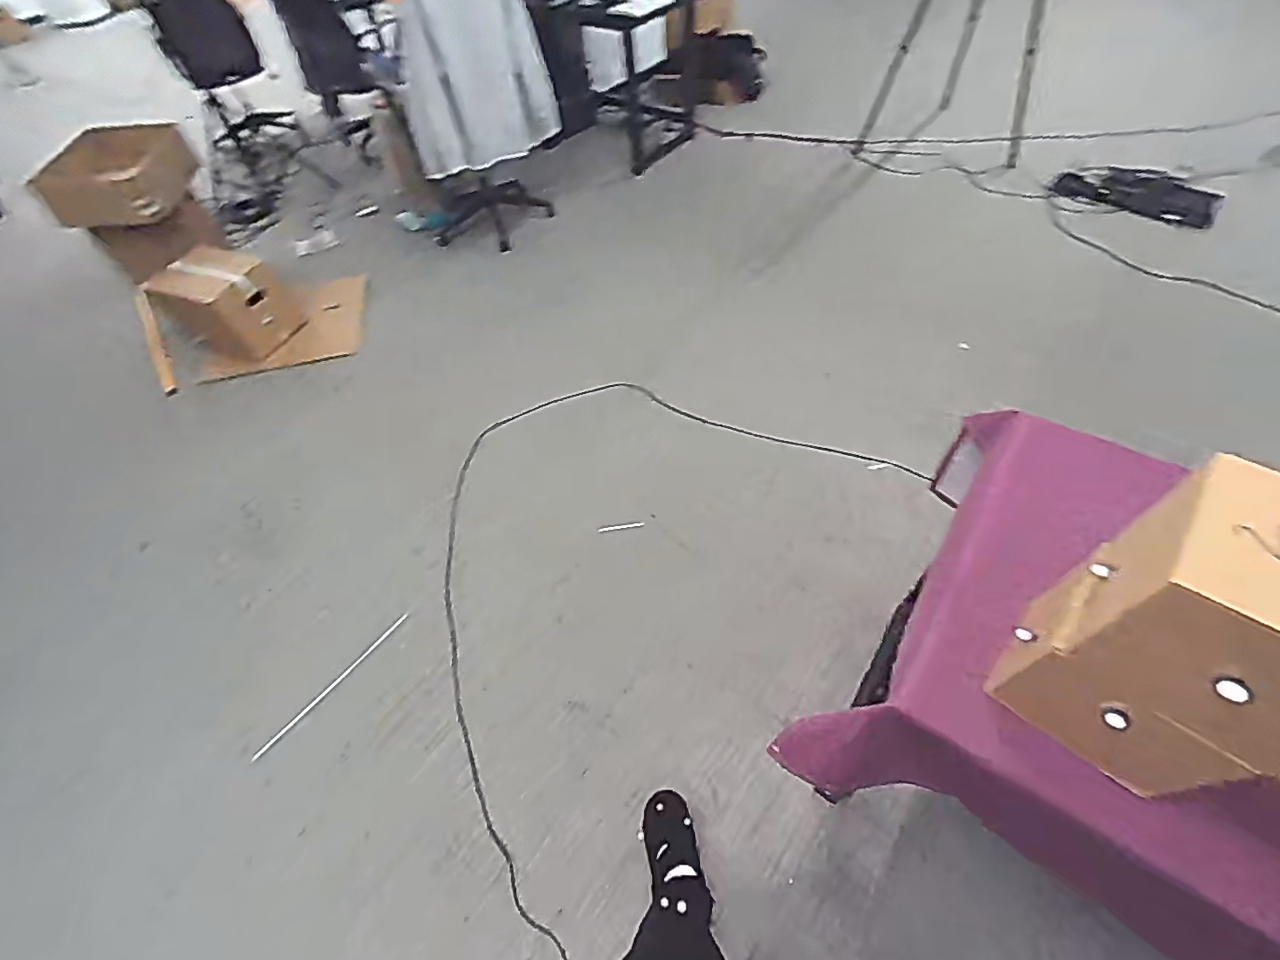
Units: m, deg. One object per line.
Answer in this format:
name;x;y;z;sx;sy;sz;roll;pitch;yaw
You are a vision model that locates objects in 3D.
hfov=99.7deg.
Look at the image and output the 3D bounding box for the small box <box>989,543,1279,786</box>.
small box;0.540;0.211;0.609;0.179;0.176;0.168;36;65;27
